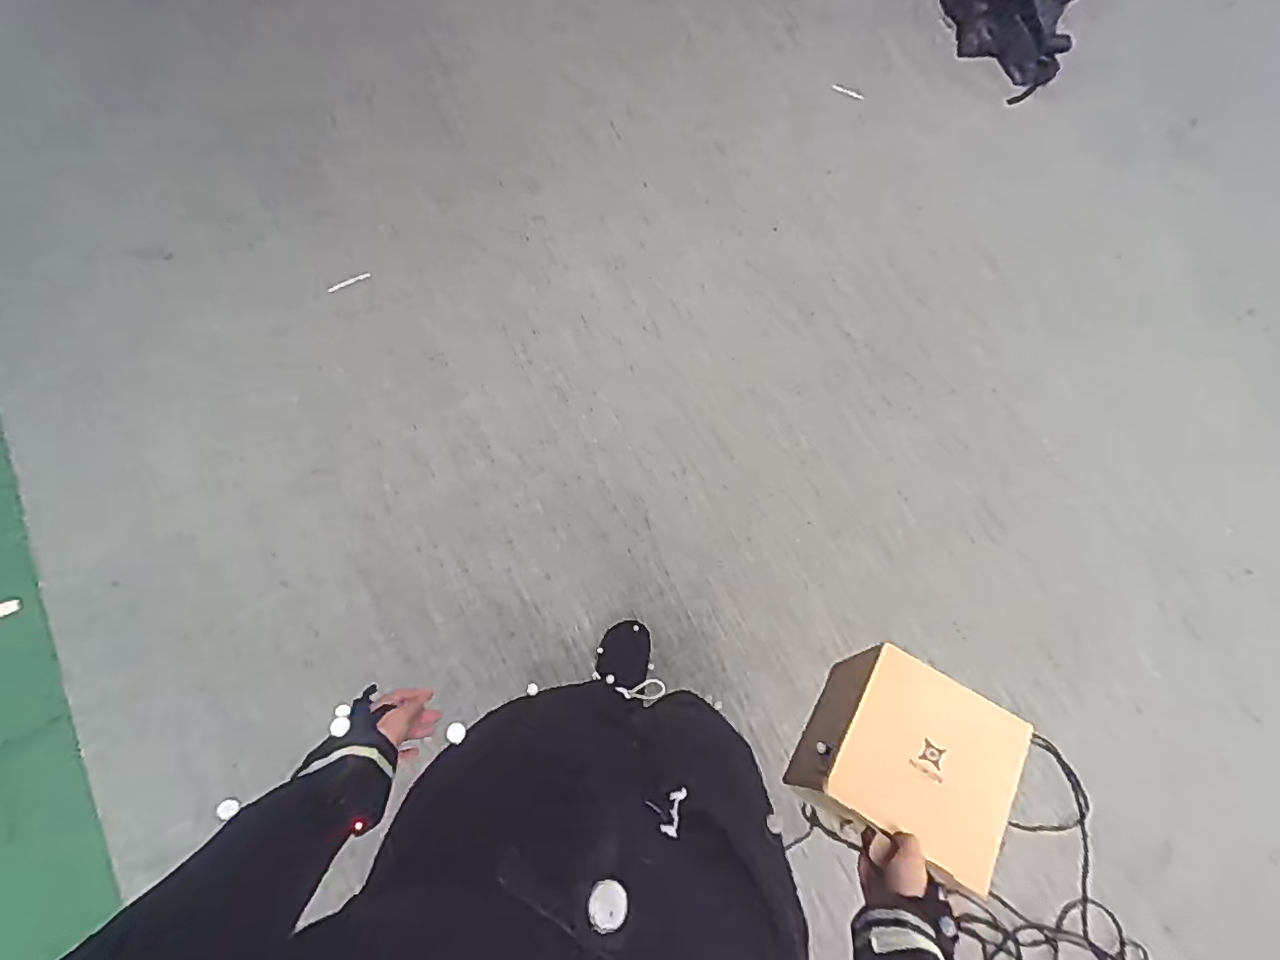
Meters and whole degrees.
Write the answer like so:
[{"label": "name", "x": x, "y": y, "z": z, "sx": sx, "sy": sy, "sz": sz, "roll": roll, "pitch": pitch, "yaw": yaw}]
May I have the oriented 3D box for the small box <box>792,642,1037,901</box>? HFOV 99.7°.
[{"label": "small box", "x": 0.295, "y": 0.315, "z": 0.614, "sx": 0.168, "sy": 0.176, "sz": 0.179, "roll": 30, "pitch": 68, "yaw": 13}]
